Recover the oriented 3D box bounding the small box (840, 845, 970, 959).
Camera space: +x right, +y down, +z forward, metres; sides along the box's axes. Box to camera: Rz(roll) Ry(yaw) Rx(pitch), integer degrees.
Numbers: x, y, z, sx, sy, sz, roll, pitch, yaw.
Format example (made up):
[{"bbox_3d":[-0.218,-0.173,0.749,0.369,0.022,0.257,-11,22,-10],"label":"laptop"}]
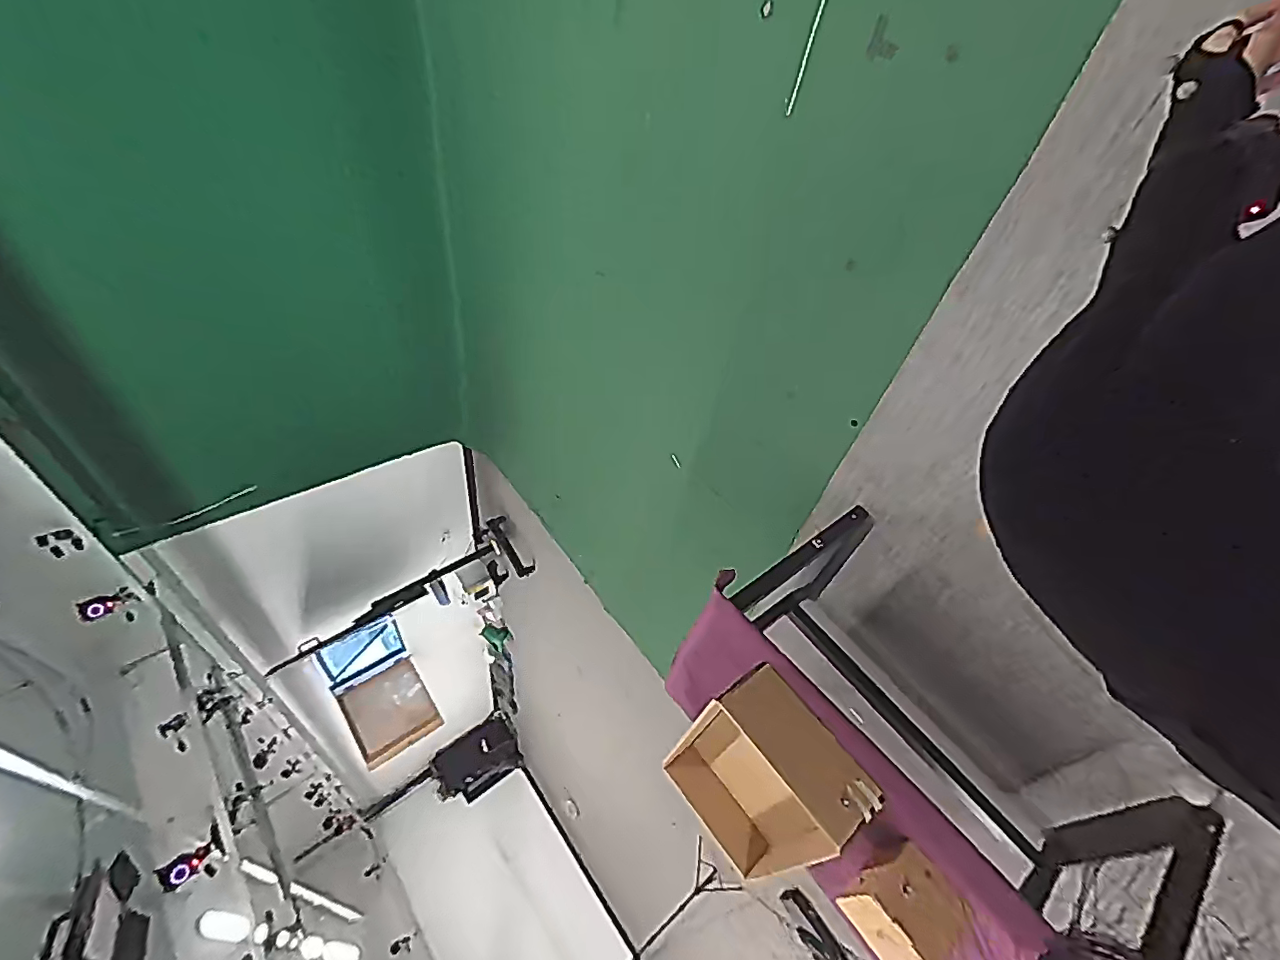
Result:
[{"bbox_3d":[0.587,0.944,1.193,0.168,0.176,0.179,48,147,26],"label":"small box"}]
